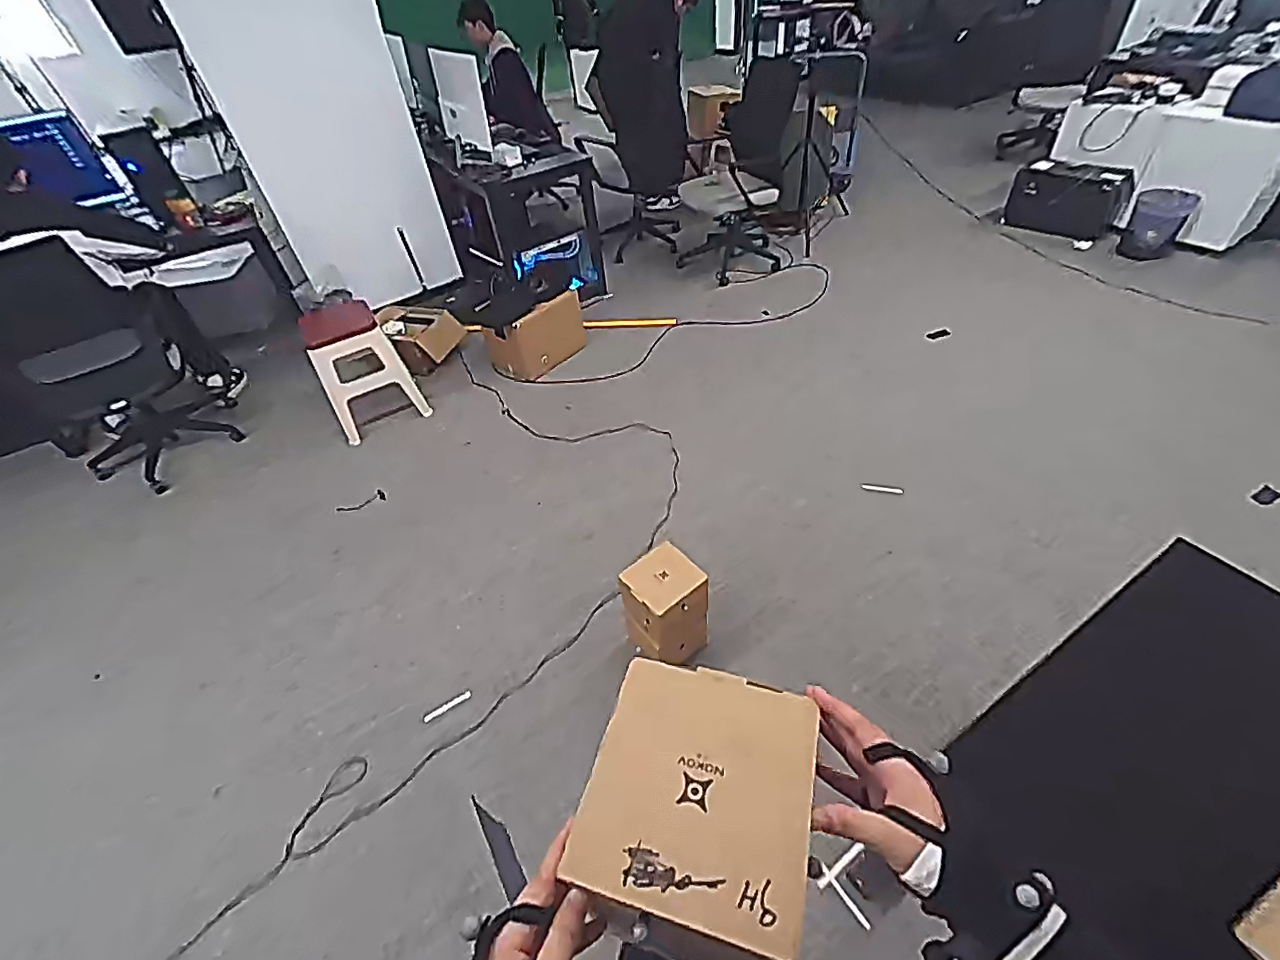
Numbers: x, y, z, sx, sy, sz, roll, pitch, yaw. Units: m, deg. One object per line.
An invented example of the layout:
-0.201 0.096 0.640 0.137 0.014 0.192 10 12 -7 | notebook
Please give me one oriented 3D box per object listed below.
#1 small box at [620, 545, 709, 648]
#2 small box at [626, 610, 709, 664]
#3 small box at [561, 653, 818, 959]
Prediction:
0.070 0.316 1.452 0.179 0.176 0.168 -32 50 -25 | small box
0.081 0.434 1.563 0.179 0.176 0.168 -31 49 -21 | small box
0.054 0.285 0.466 0.168 0.176 0.179 7 42 19 | small box
